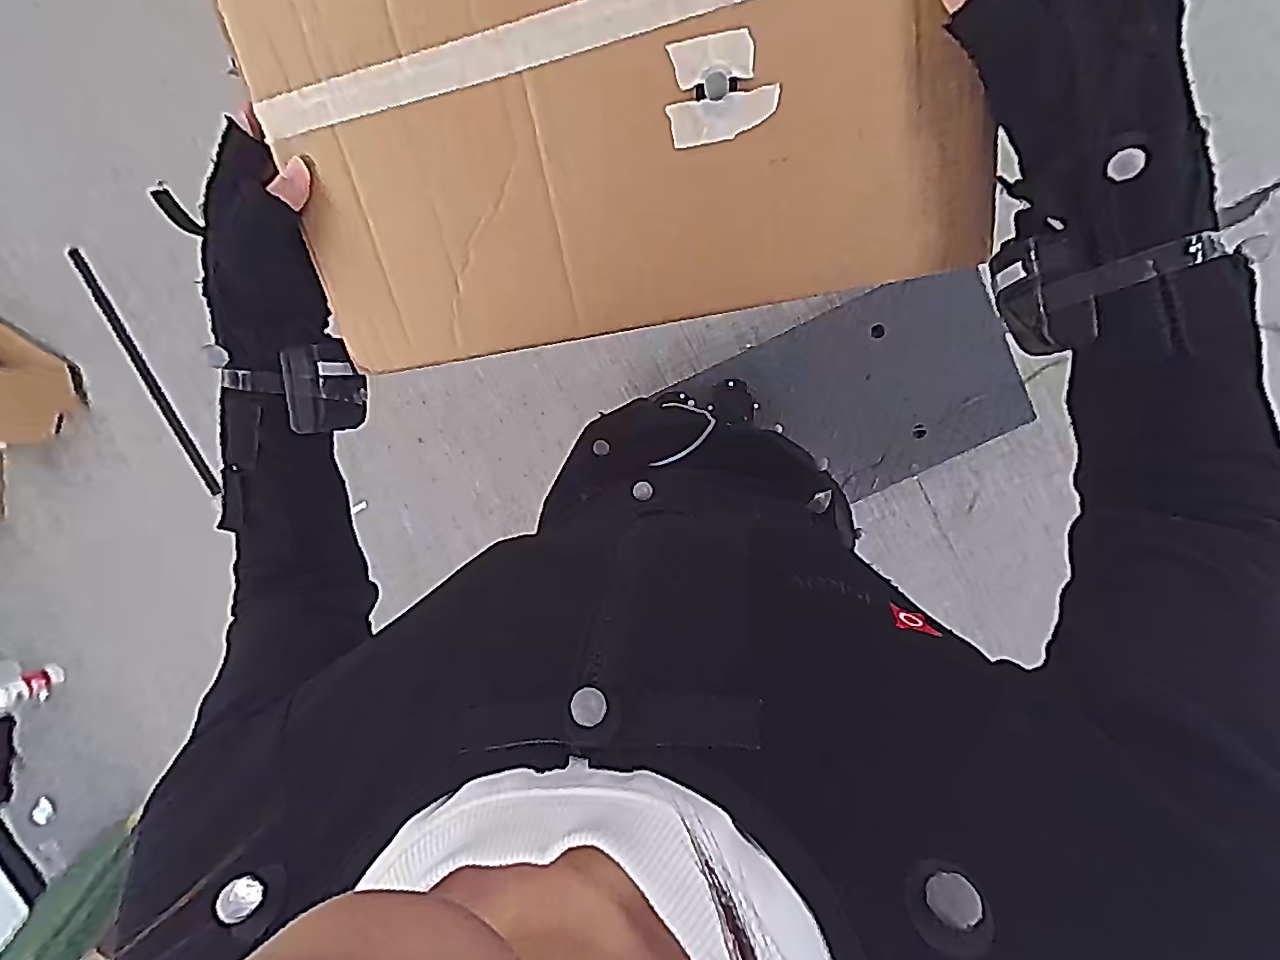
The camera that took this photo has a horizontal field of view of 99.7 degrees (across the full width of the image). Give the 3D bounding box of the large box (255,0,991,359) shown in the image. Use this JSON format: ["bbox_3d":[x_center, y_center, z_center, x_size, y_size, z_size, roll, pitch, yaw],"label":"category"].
[{"bbox_3d":[-0.004,-0.307,0.434,0.408,0.320,0.320,-7,112,11],"label":"large box"}]

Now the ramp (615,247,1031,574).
[{"bbox_3d":[0.479,-0.174,1.426,0.991,0.206,0.509,-26,94,13],"label":"ramp"}]
